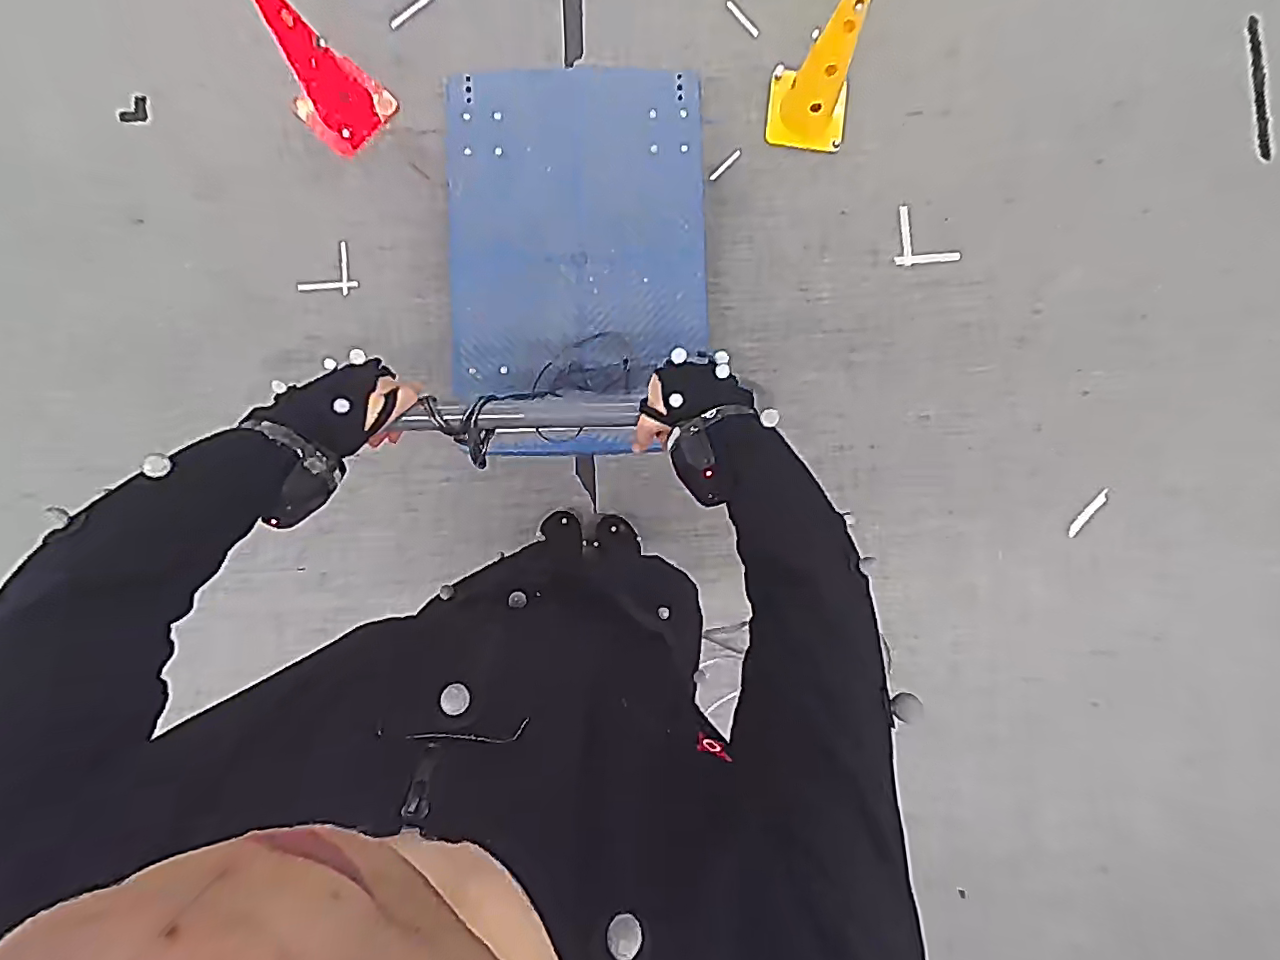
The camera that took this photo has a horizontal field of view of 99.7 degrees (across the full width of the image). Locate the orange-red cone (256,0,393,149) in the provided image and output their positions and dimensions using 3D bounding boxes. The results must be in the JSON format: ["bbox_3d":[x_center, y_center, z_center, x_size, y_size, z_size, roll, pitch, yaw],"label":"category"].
[{"bbox_3d":[-0.743,-0.965,1.193,0.198,0.360,0.199,43,87,-1],"label":"orange-red cone"}]
